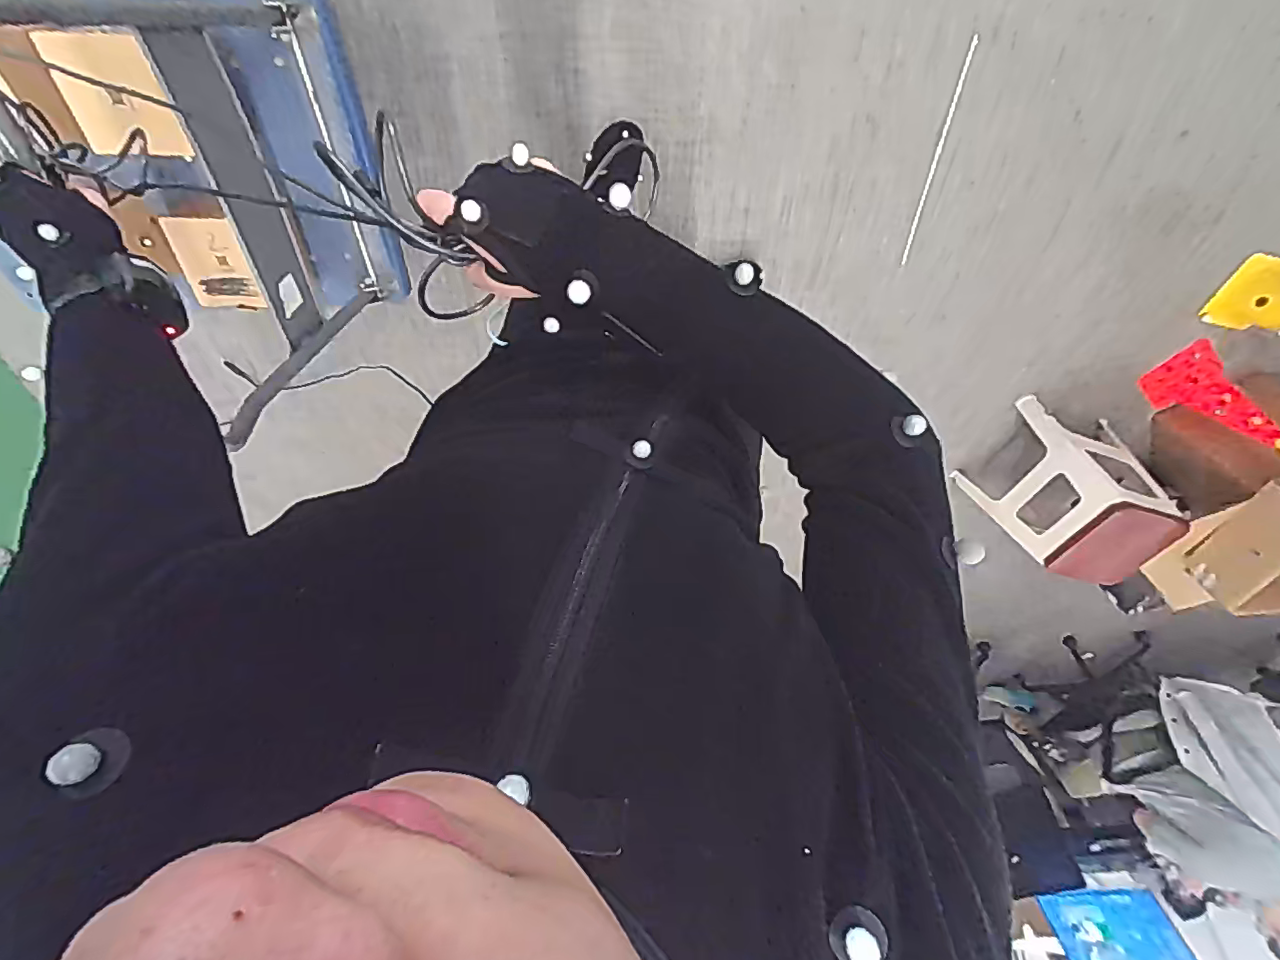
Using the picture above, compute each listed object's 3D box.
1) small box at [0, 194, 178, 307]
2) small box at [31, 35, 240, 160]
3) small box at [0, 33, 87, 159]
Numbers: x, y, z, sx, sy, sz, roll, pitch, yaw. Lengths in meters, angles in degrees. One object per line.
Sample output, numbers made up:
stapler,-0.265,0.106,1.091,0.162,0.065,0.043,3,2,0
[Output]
small box,-1.107,-0.473,1.107,0.179,0.176,0.168,-5,130,0
small box,-0.865,-0.674,0.953,0.179,0.176,0.168,-1,131,-4
small box,-1.111,-0.666,0.940,0.179,0.176,0.168,-5,132,-2
